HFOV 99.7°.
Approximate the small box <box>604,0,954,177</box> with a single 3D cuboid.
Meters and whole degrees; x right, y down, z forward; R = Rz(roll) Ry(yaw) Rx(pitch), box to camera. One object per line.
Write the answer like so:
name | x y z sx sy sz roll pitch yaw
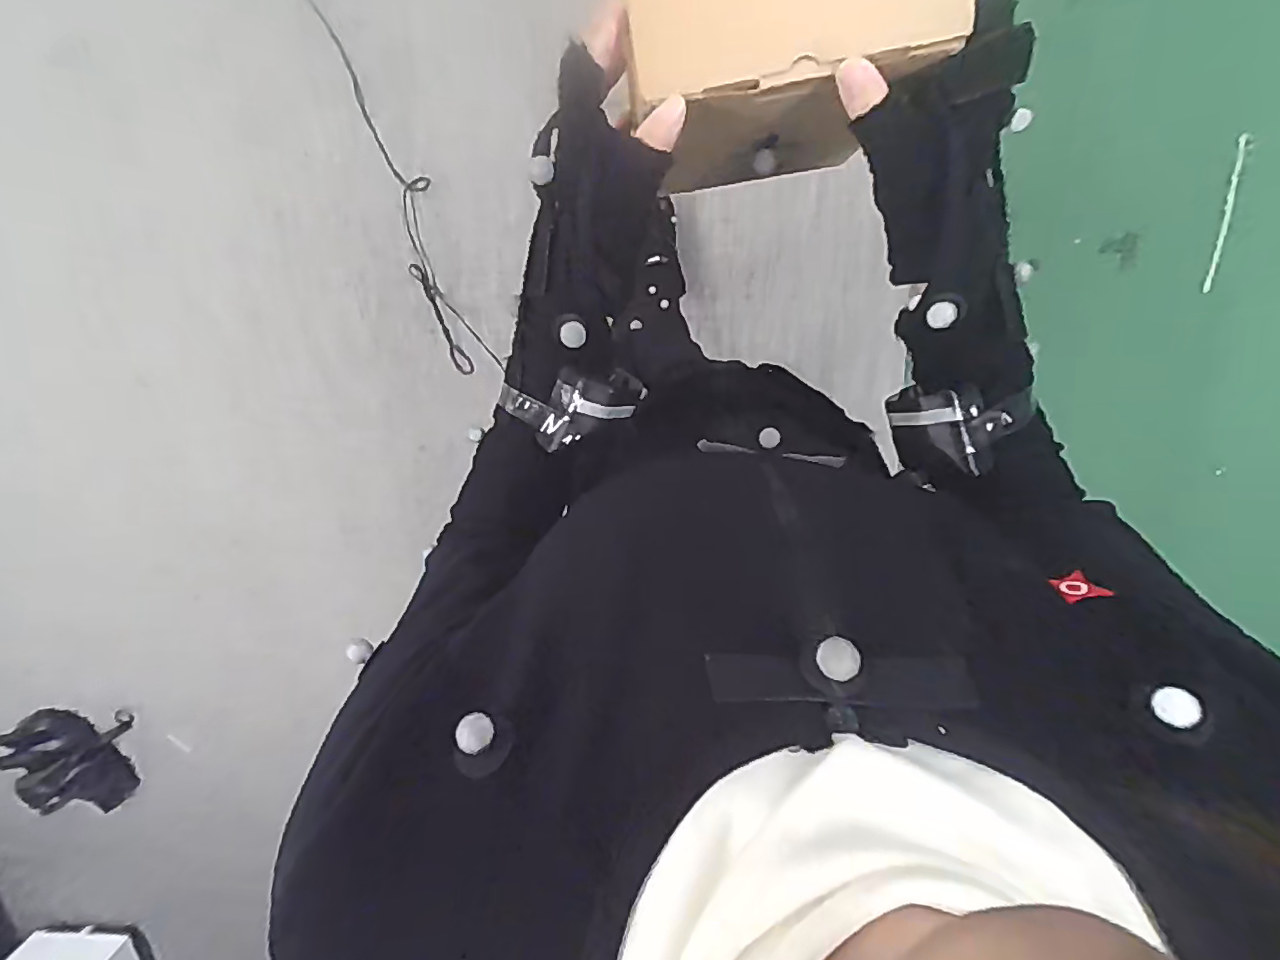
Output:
small box | 0.061 -0.302 0.324 0.168 0.176 0.179 -9 104 2
